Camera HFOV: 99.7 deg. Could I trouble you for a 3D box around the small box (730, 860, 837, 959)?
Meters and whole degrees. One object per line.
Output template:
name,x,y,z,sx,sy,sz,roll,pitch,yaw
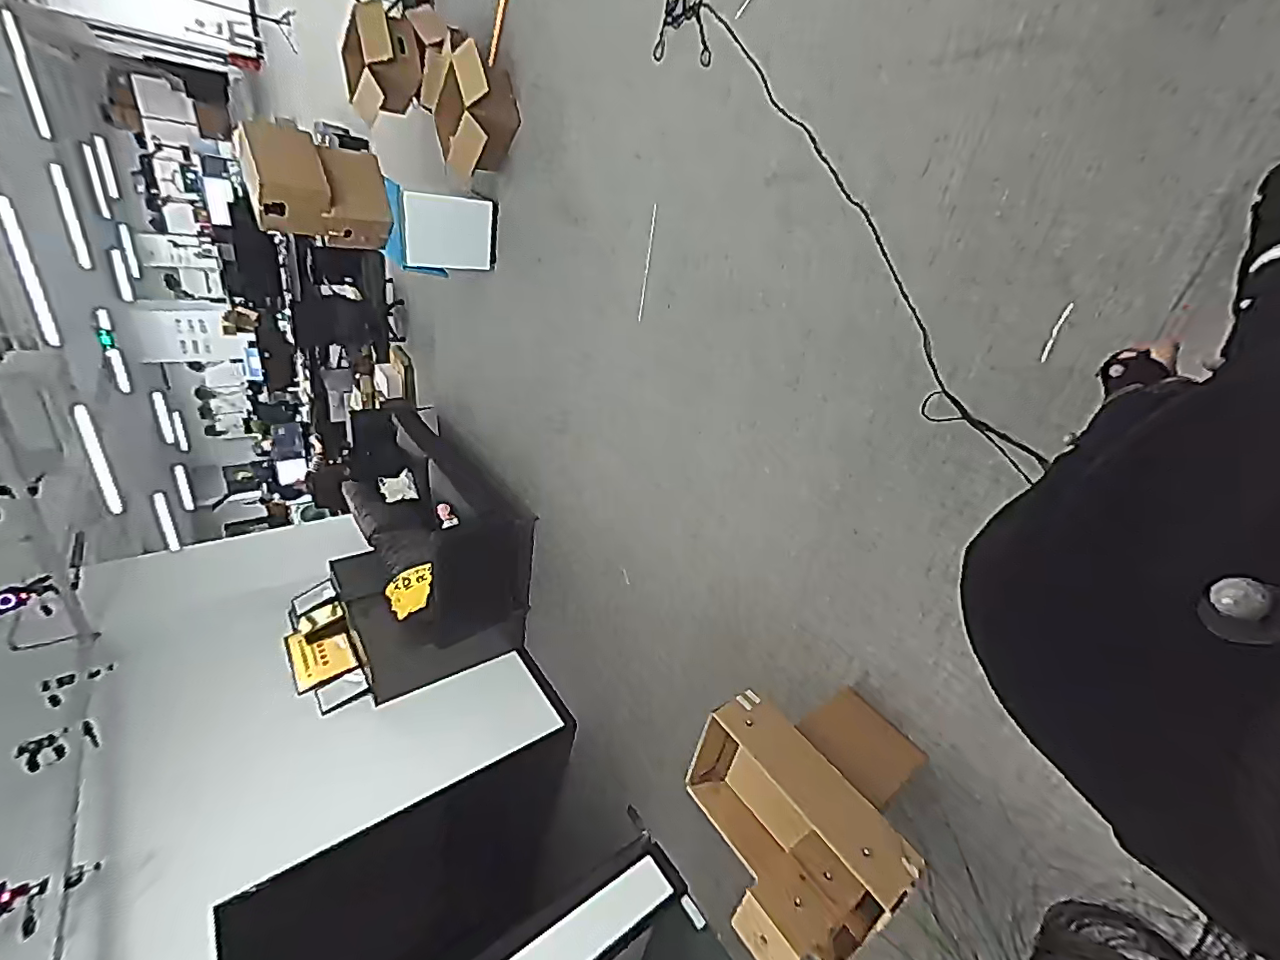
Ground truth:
small box,0.358,1.098,1.339,0.168,0.176,0.179,40,130,41
